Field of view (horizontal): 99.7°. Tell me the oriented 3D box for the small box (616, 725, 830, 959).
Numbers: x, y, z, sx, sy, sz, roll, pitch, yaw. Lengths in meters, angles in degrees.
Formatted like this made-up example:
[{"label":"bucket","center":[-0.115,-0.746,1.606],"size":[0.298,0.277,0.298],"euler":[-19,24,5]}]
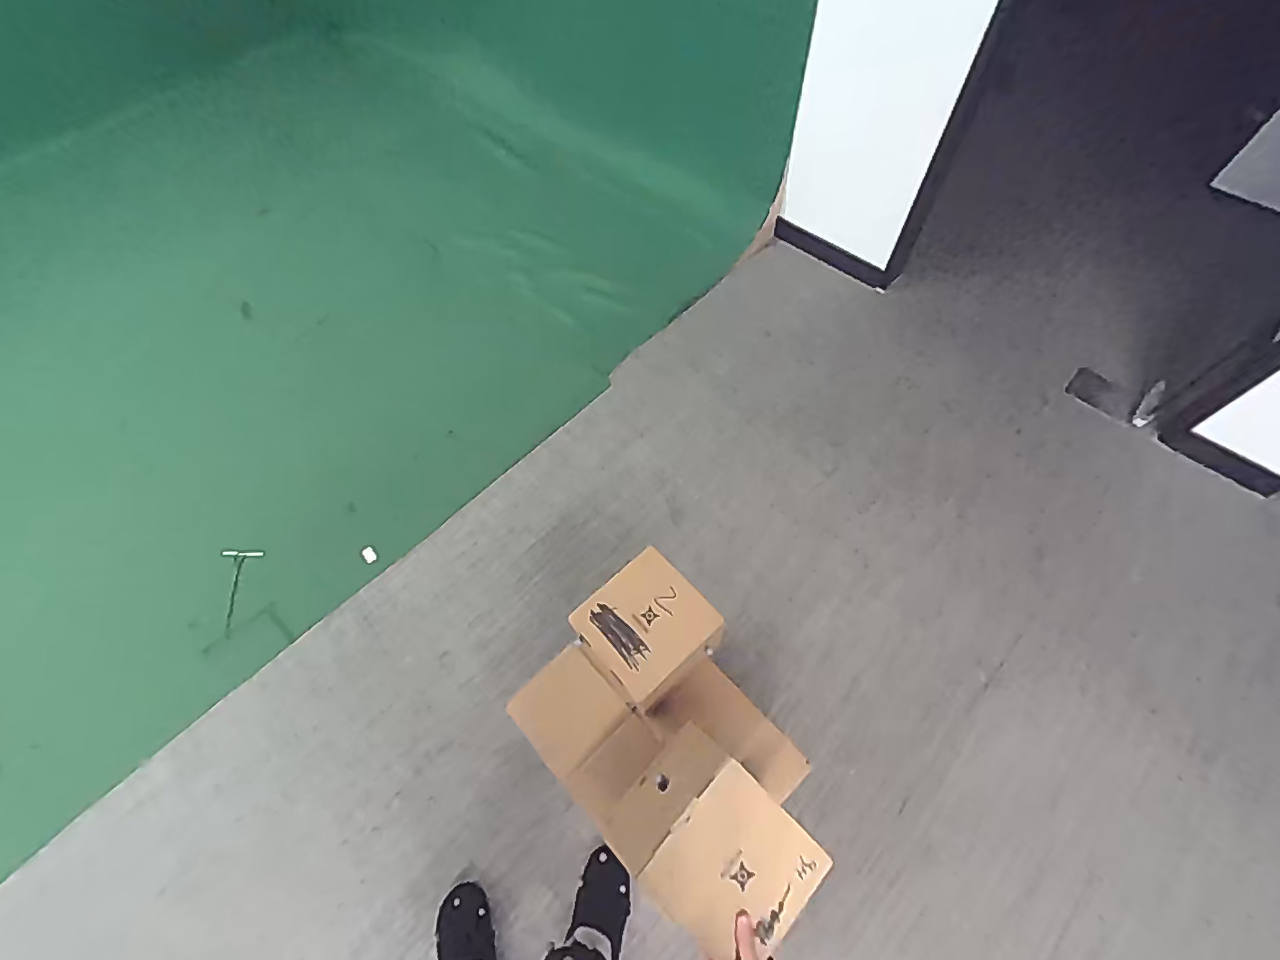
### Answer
[{"label":"small box","center":[0.090,0.437,0.677],"size":[0.168,0.176,0.179],"euler":[-44,90,-14]}]
